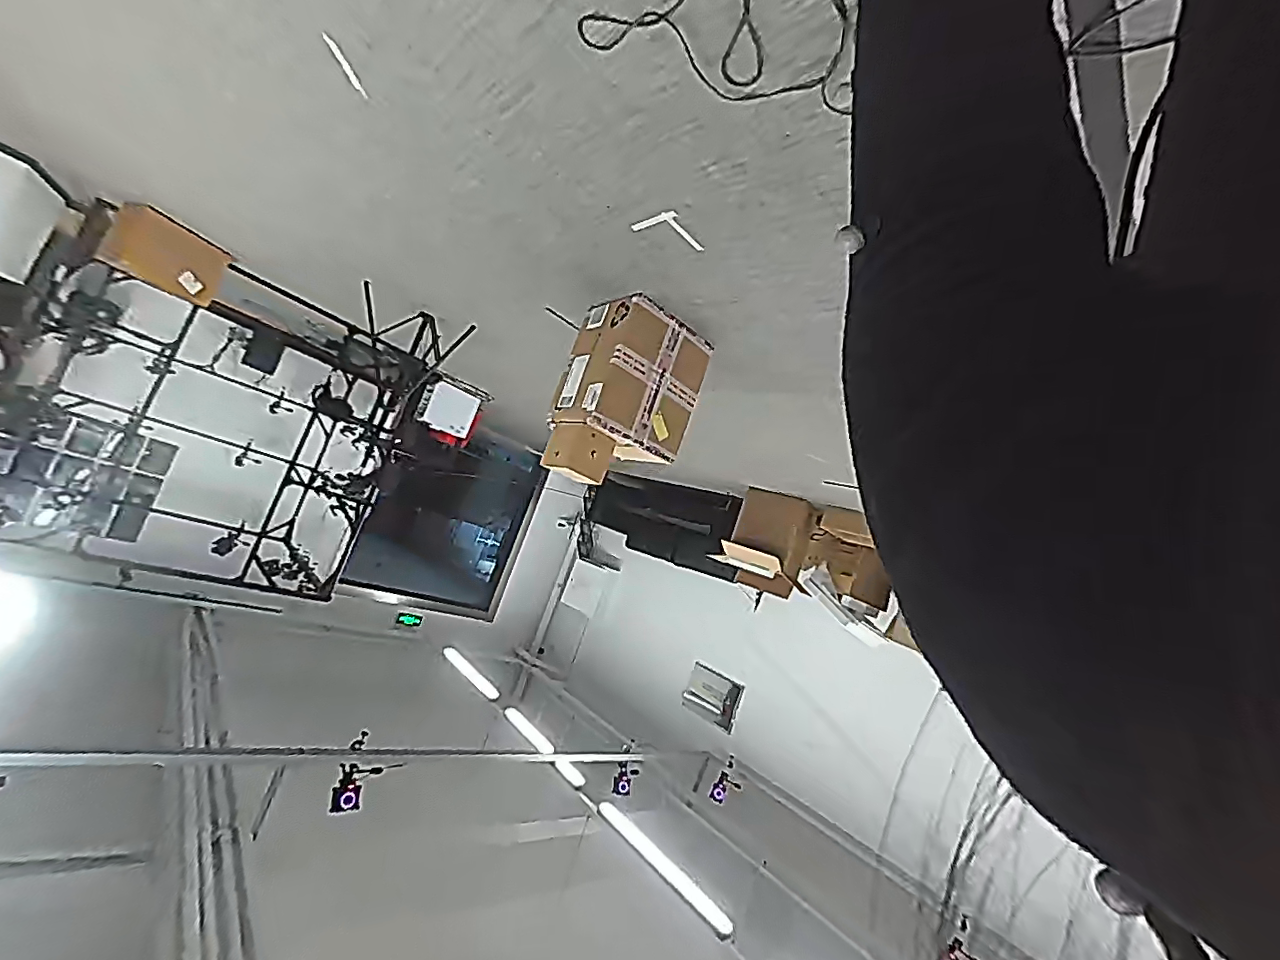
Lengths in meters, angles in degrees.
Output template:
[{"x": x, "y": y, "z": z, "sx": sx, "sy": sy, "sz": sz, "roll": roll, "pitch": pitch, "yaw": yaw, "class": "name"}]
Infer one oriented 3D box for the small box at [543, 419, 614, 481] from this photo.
[{"x": -0.211, "y": -0.107, "z": 1.917, "sx": 0.168, "sy": 0.176, "sz": 0.179, "roll": 28, "pitch": 168, "yaw": -37, "class": "small box"}]
